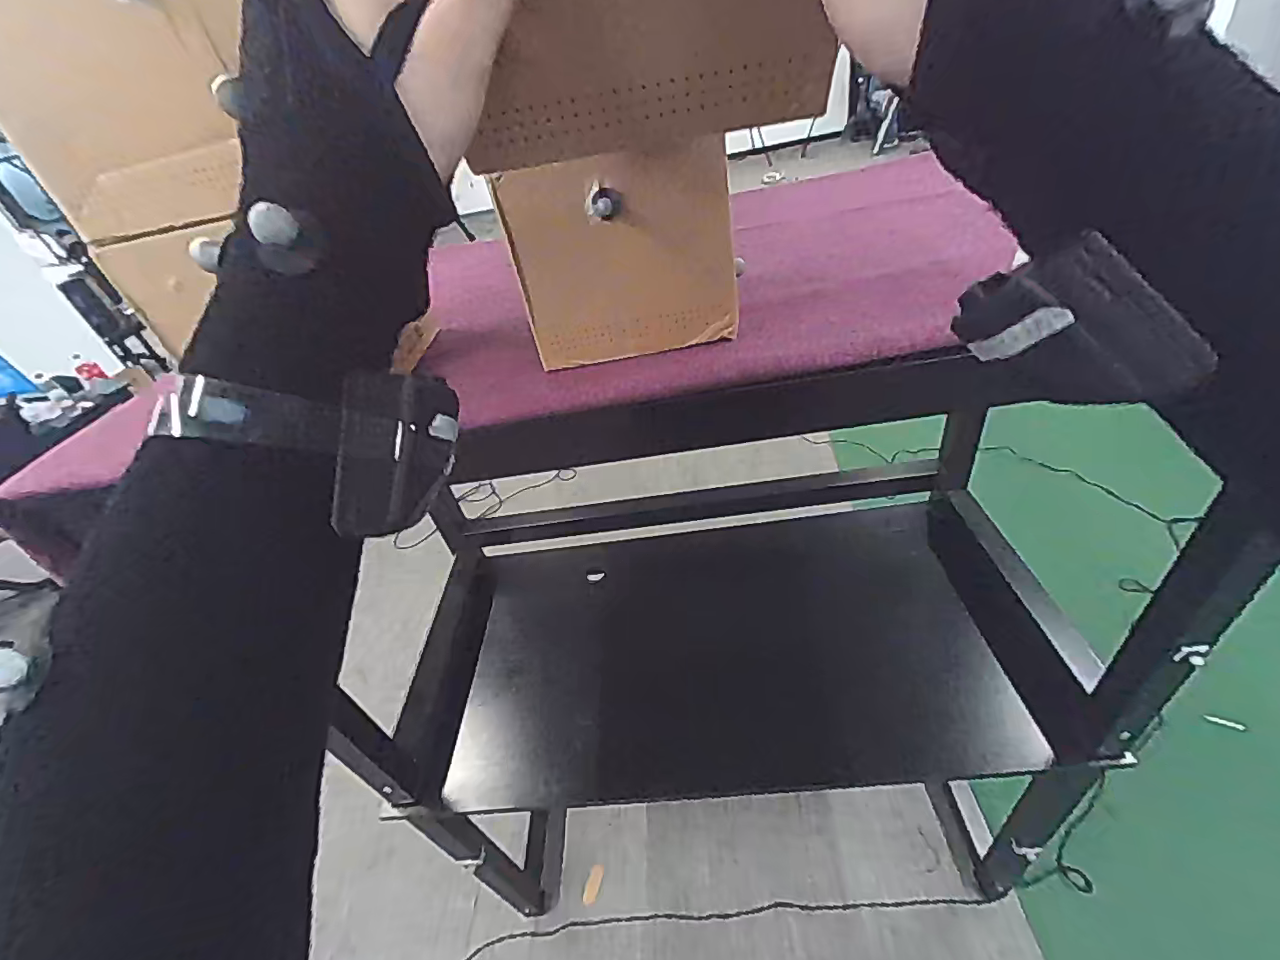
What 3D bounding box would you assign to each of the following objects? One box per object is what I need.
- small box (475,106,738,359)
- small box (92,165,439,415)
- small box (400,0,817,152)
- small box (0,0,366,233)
[{"bbox_3d":[-0.016,-0.223,0.480,0.179,0.176,0.168,-9,38,7],"label":"small box"},{"bbox_3d":[-0.327,-0.179,0.519,0.179,0.176,0.168,-10,38,6],"label":"small box"},{"bbox_3d":[-0.019,-0.276,0.224,0.179,0.176,0.168,-8,63,6],"label":"small box"},{"bbox_3d":[-0.359,-0.308,0.423,0.179,0.176,0.168,-9,37,4],"label":"small box"}]
